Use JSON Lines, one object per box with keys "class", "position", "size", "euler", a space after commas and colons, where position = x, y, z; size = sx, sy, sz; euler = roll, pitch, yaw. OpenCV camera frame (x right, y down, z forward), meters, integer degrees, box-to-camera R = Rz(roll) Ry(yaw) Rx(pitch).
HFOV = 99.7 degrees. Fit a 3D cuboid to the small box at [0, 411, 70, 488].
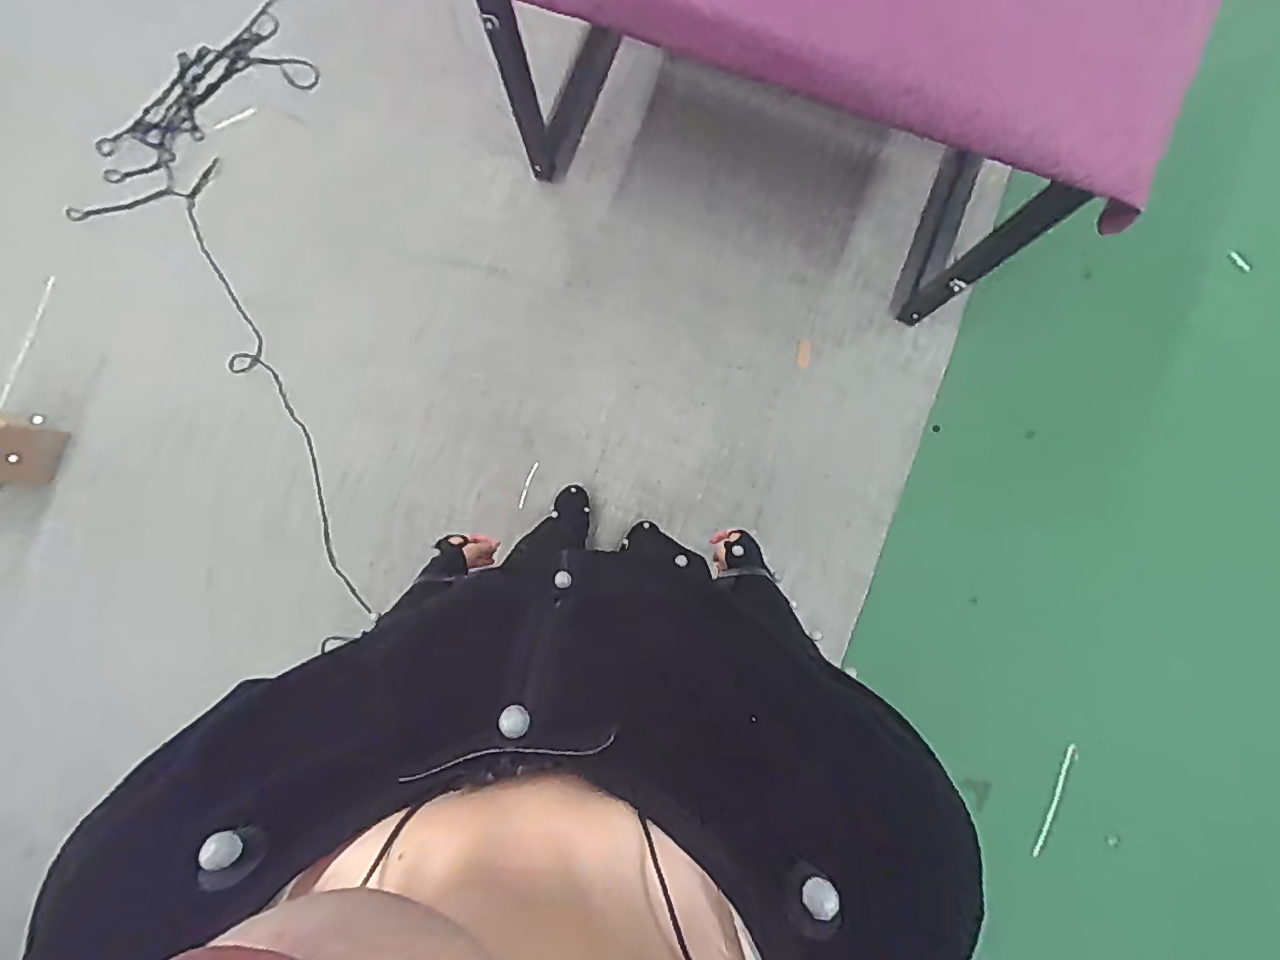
{"class": "small box", "position": [-1.735, -0.085, 1.475], "size": [0.168, 0.176, 0.179], "euler": [20, 86, 2]}
